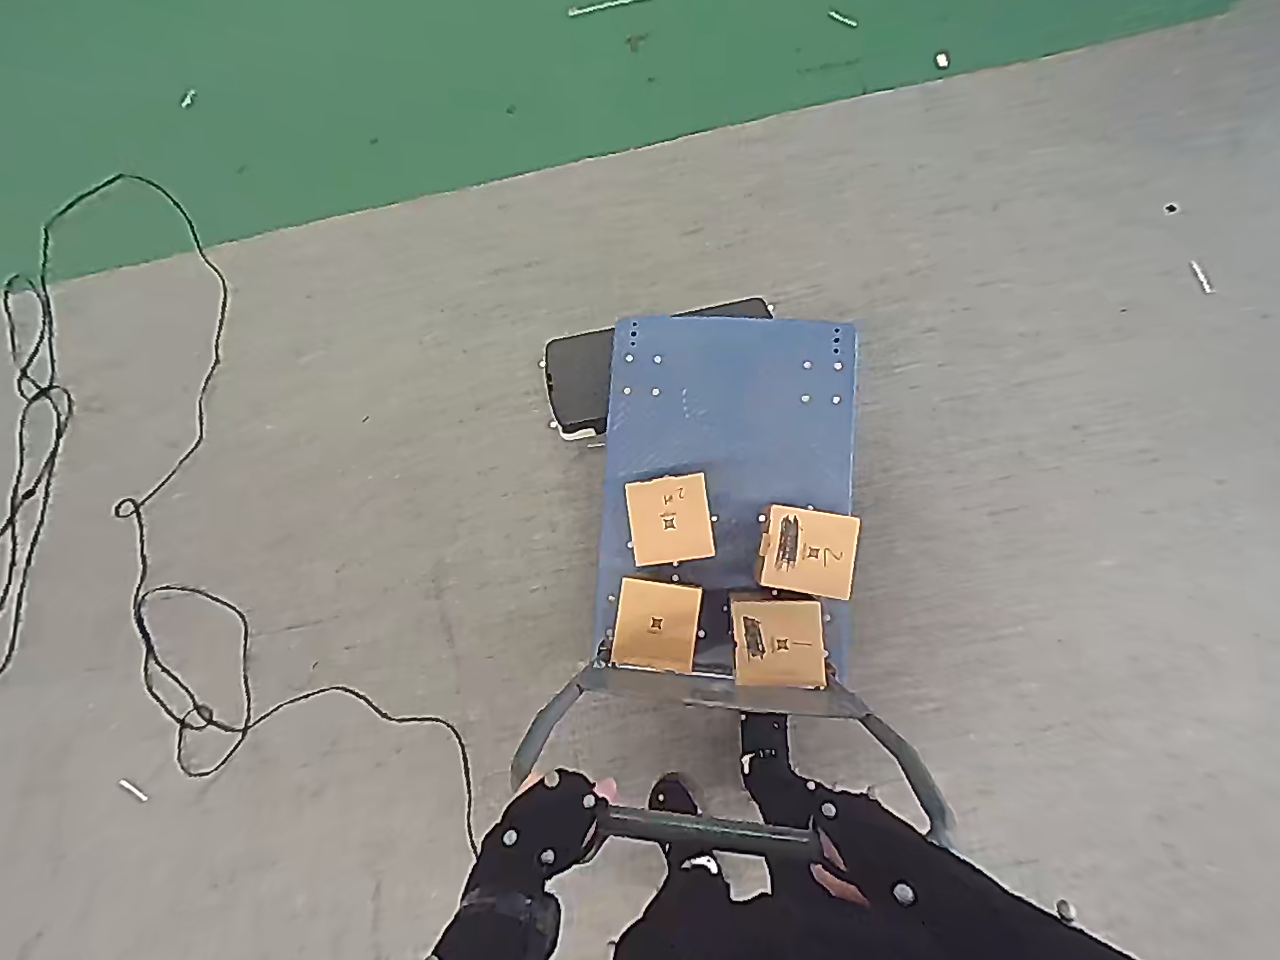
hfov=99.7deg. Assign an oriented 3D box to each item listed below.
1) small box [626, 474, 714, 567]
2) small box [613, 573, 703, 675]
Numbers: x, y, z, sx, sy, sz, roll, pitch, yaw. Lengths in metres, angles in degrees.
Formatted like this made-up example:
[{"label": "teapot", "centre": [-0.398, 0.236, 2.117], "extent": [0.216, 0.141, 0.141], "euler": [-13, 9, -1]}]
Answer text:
[{"label": "small box", "centre": [0.070, 0.088, 1.185], "extent": [0.168, 0.176, 0.179], "euler": [-8, 84, 5]}, {"label": "small box", "centre": [0.044, 0.302, 1.174], "extent": [0.168, 0.176, 0.179], "euler": [7, 86, 7]}]
